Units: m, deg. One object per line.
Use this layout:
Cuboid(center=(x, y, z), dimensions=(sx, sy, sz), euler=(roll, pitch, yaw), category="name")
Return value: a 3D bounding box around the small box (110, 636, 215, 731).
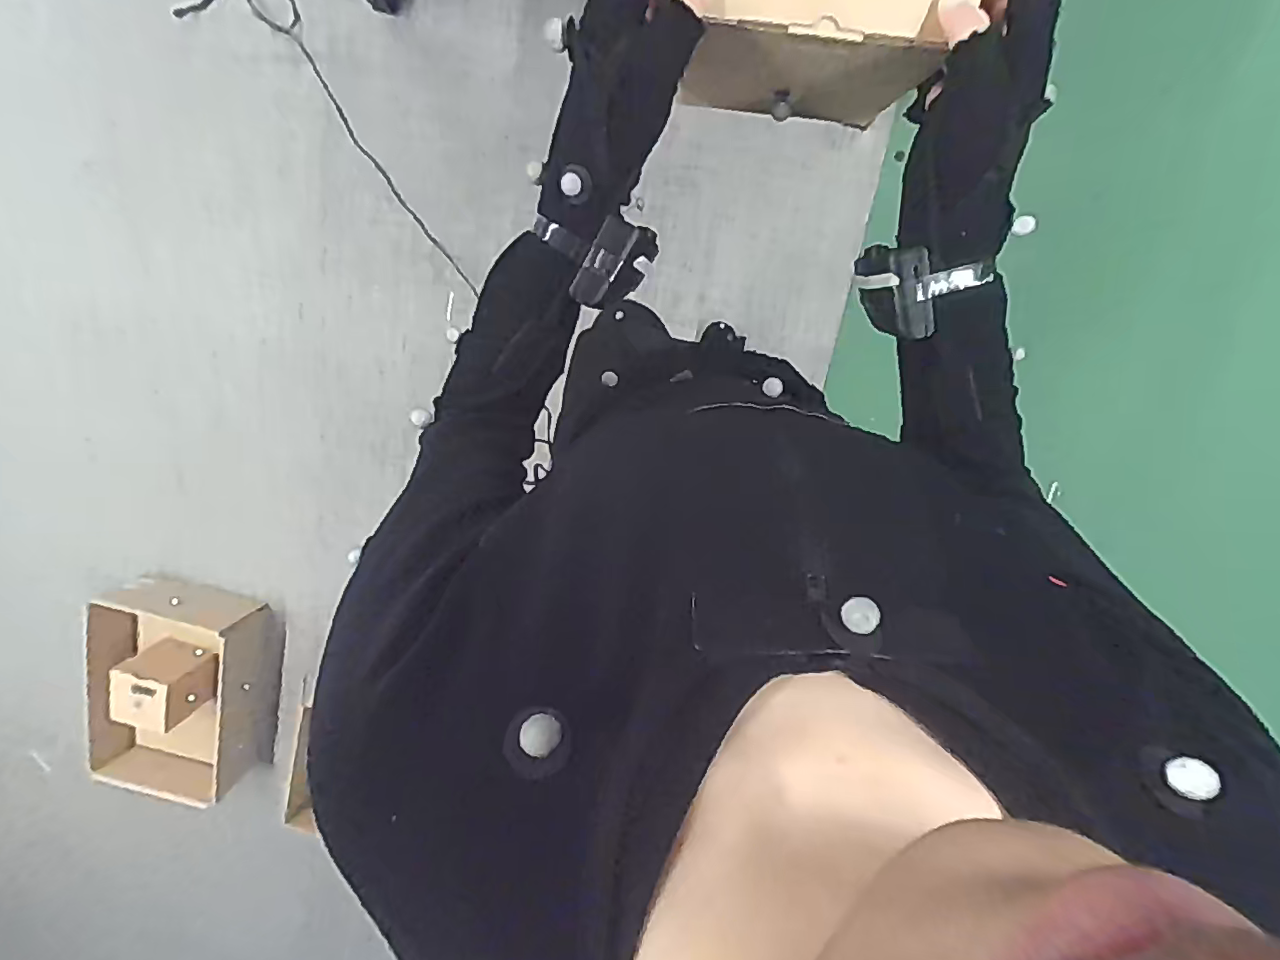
Cuboid(center=(-1.393, 0.590, 1.587), dimensions=(0.168, 0.176, 0.179), euler=(17, 106, 0), category="small box")
